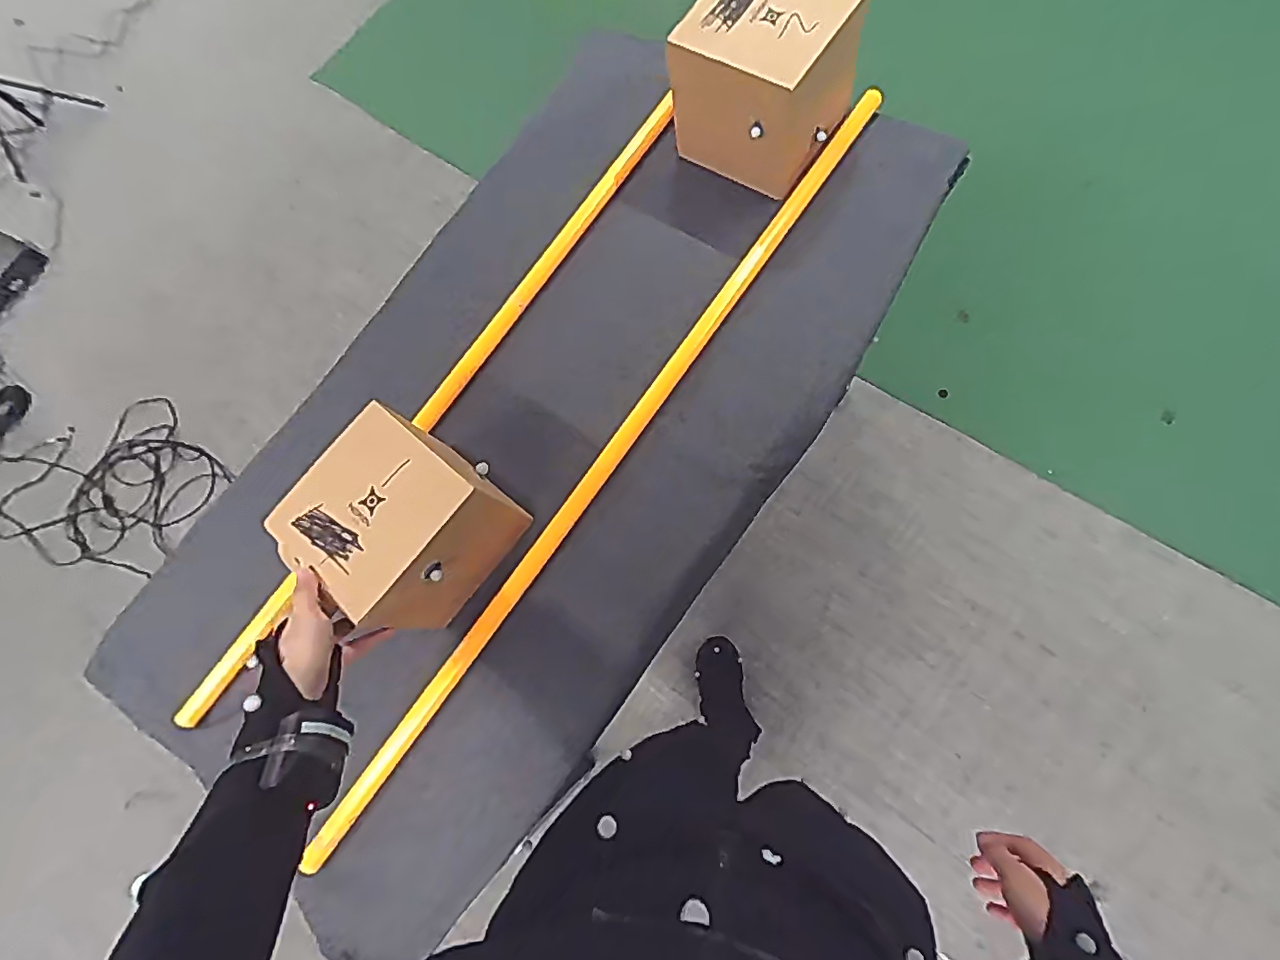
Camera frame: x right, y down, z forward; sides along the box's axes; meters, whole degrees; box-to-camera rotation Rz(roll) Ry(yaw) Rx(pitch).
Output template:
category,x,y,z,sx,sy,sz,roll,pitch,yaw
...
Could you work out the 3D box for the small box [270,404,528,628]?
category,x,y,z,sx,sy,sz,roll,pitch,yaw
small box,-0.260,0.052,0.624,0.168,0.176,0.179,38,83,16
